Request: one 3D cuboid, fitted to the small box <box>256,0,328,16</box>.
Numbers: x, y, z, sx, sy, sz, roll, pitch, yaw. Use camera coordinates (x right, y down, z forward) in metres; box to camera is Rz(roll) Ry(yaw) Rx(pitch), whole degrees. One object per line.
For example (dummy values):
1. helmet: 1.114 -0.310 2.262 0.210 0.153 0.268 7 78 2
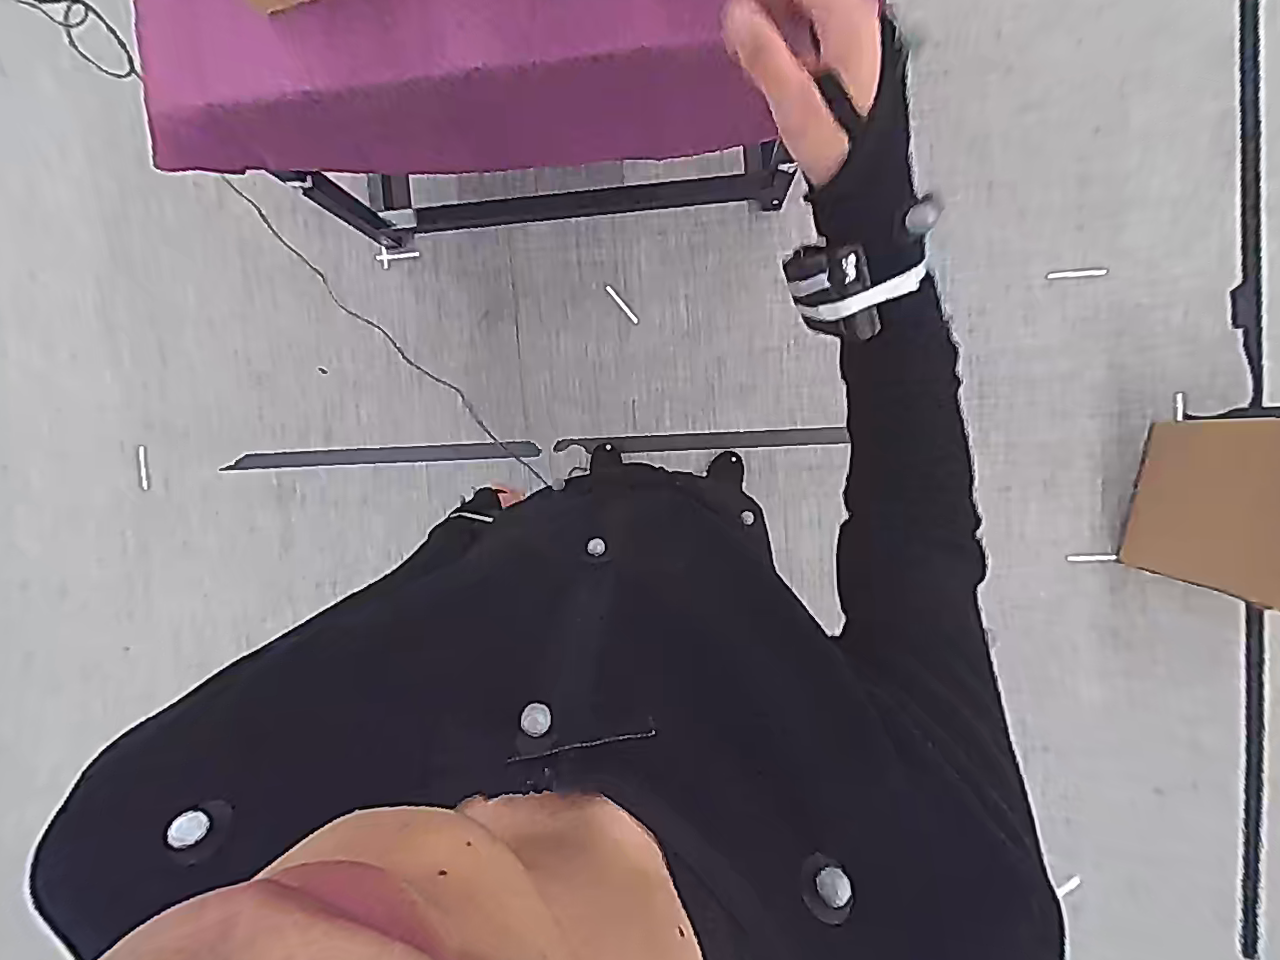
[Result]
1. small box: -0.565 -0.858 0.803 0.168 0.176 0.179 -12 93 5
